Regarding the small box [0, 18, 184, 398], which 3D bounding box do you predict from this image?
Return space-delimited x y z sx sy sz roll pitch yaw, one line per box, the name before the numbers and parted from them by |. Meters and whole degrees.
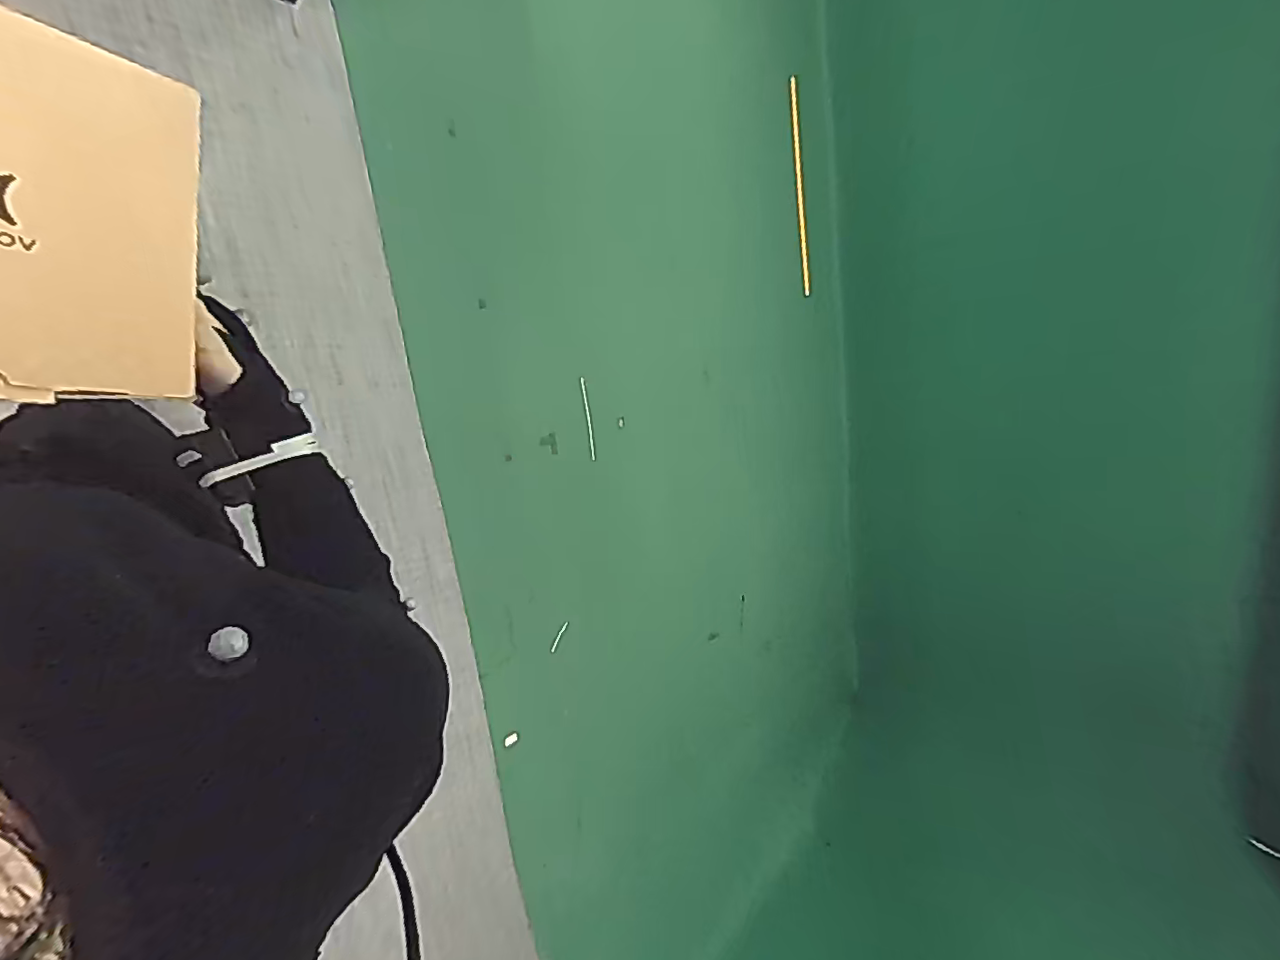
small box | -0.384 -0.149 0.295 0.168 0.176 0.179 -7 111 -57
